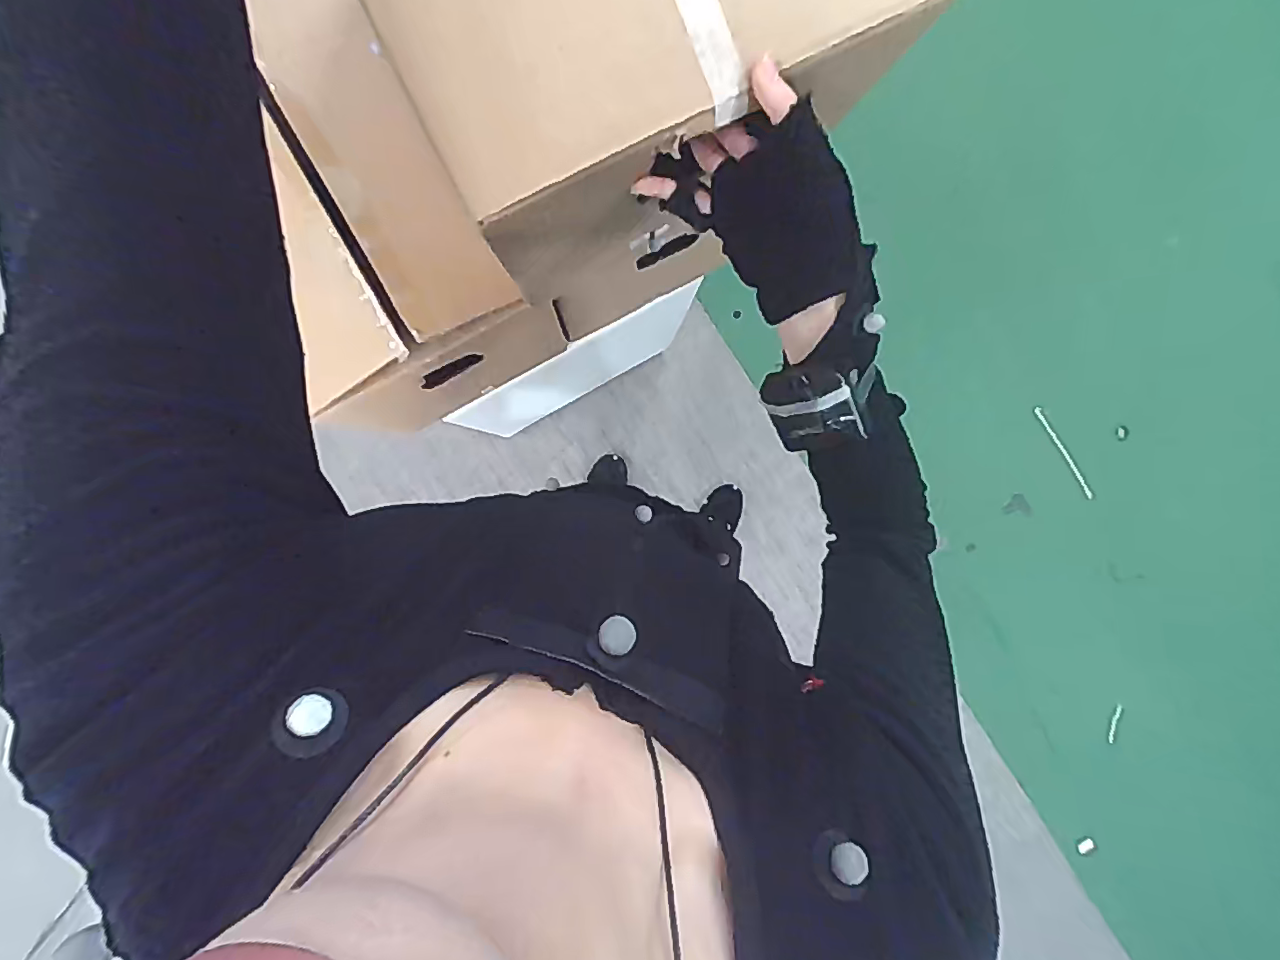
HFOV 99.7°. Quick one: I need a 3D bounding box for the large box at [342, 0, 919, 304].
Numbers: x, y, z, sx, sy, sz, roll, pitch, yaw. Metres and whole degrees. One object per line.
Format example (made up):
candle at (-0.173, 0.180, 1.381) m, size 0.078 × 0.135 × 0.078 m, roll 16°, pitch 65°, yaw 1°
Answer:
large box at (-0.059, -0.409, 0.414) m, size 0.320 × 0.320 × 0.408 m, roll -26°, pitch 99°, yaw -1°
